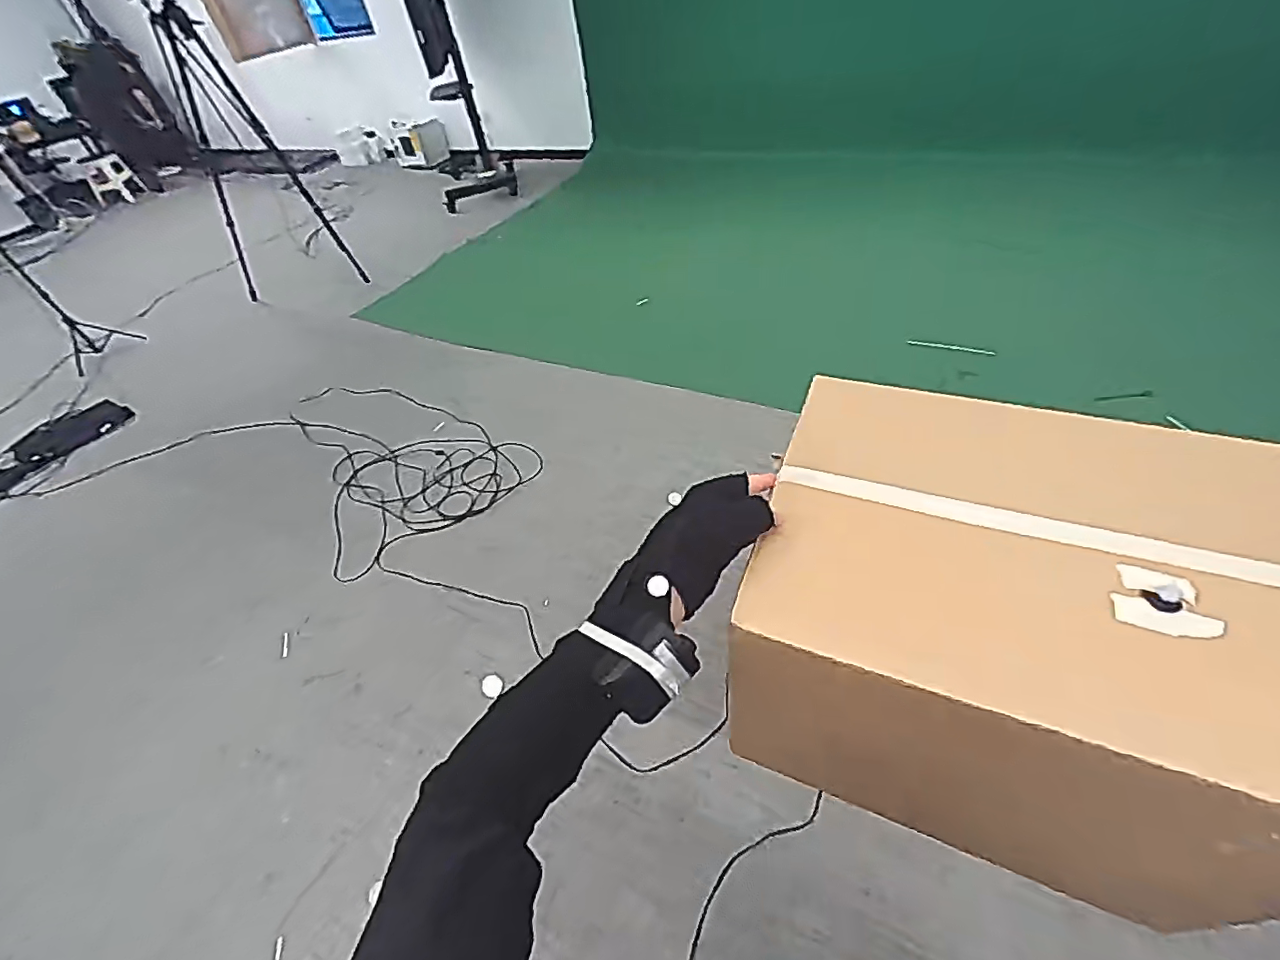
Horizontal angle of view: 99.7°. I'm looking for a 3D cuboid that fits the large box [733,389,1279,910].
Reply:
[{"bbox_3d":[0.328,0.147,0.543,0.408,0.320,0.320,14,51,20],"label":"large box"}]
